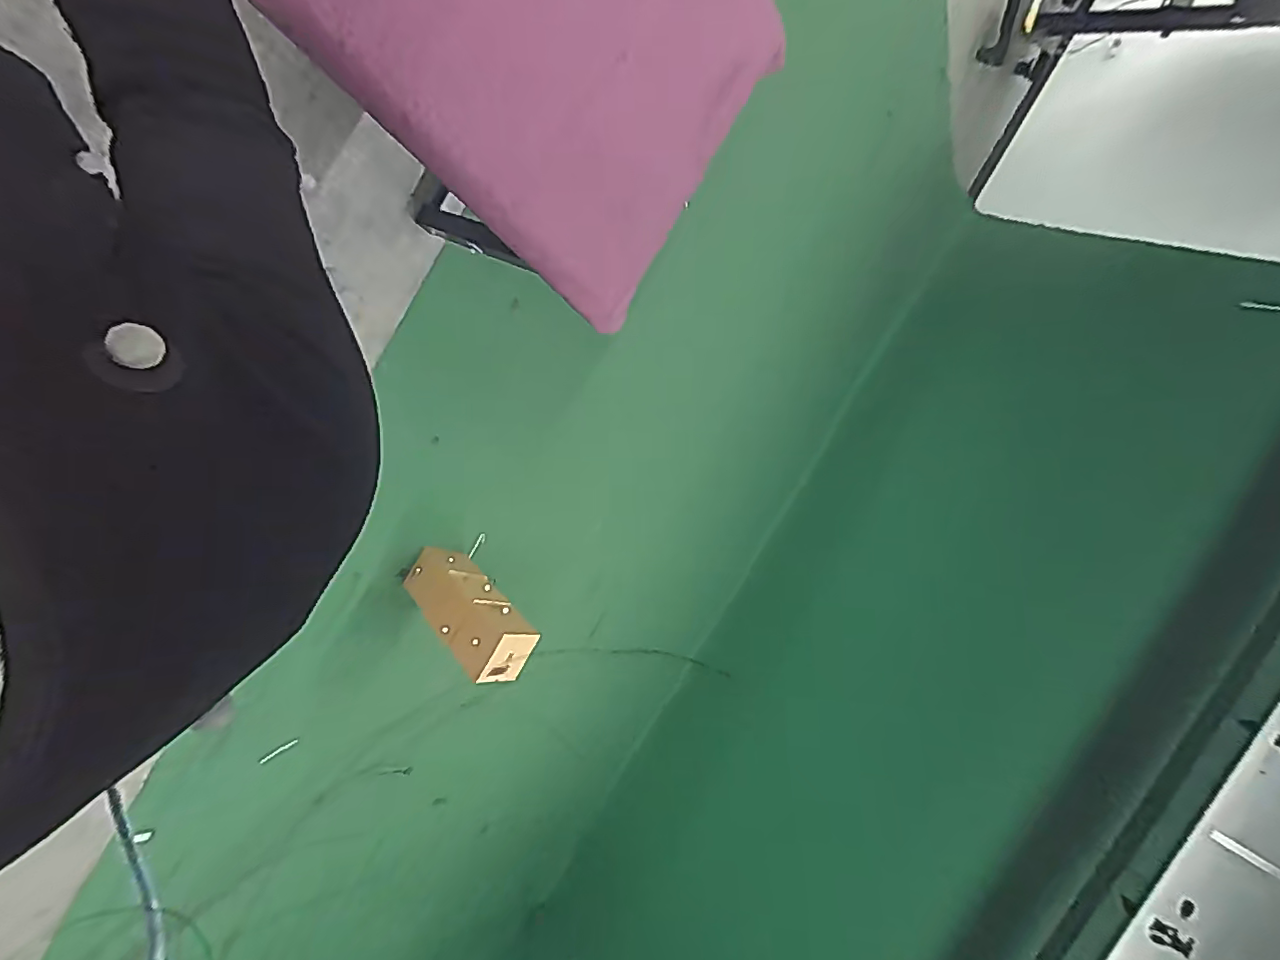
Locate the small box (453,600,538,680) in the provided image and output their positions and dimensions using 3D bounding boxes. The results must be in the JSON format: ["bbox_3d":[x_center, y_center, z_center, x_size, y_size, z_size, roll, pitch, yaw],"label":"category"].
[{"bbox_3d":[-0.461,0.502,1.700,0.168,0.176,0.179,25,97,-55],"label":"small box"}]

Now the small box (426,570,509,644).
[{"bbox_3d":[-0.575,0.419,1.786,0.179,0.176,0.168,-58,145,3],"label":"small box"}]
